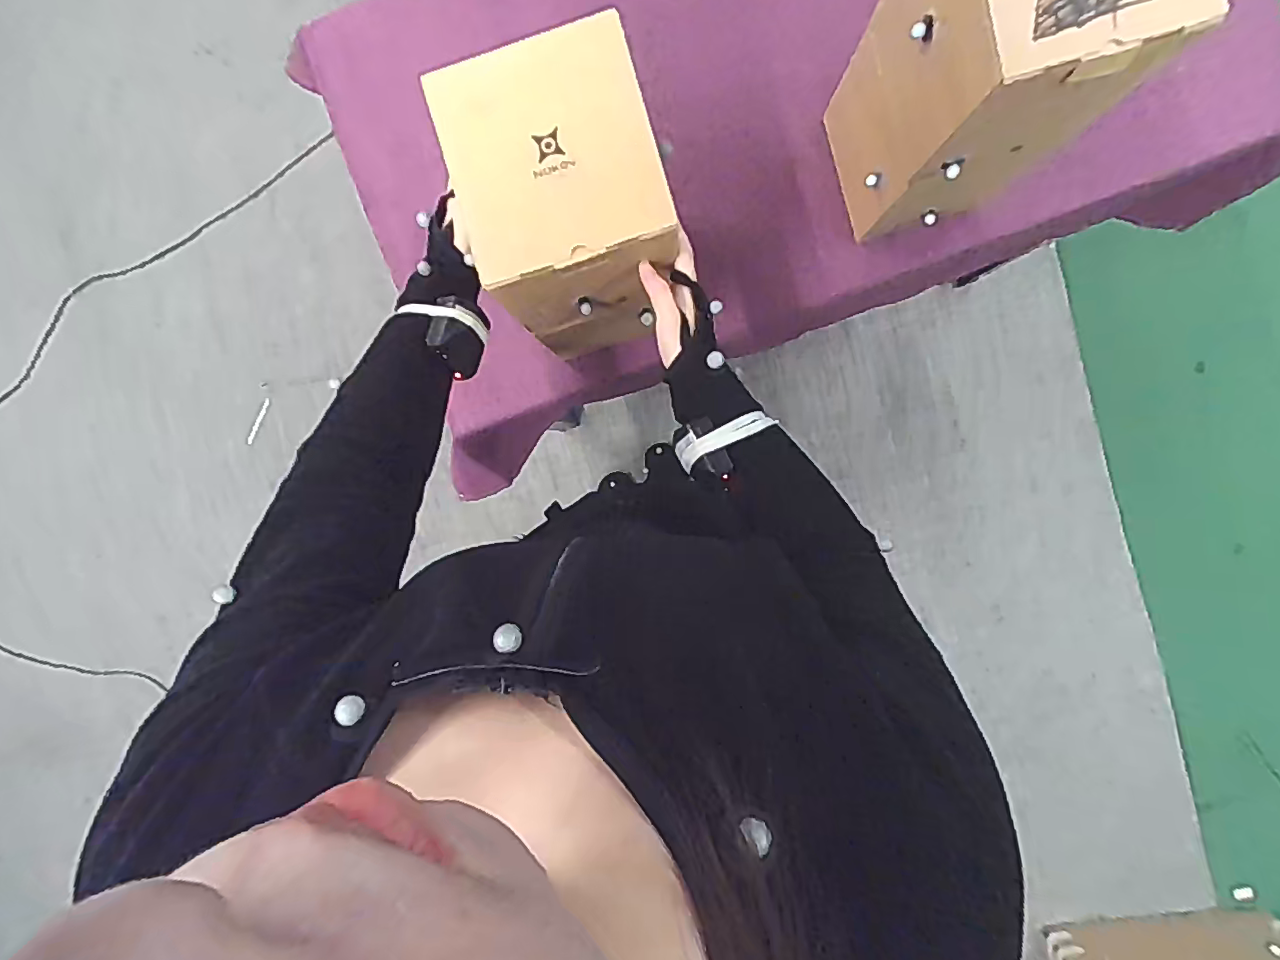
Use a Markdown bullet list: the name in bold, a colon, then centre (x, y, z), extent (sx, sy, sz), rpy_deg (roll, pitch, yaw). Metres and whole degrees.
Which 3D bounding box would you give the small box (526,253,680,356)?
- **small box**: centre (-0.057, -0.267, 0.672), extent (0.179, 0.176, 0.168), rpy_deg (-17, 92, 4)

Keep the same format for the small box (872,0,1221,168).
- **small box**: centre (0.329, -0.407, 0.474), extent (0.168, 0.176, 0.179), rpy_deg (-14, 92, 4)

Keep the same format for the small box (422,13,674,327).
- **small box**: centre (-0.071, -0.265, 0.509), extent (0.168, 0.176, 0.179), rpy_deg (-16, 93, 4)
